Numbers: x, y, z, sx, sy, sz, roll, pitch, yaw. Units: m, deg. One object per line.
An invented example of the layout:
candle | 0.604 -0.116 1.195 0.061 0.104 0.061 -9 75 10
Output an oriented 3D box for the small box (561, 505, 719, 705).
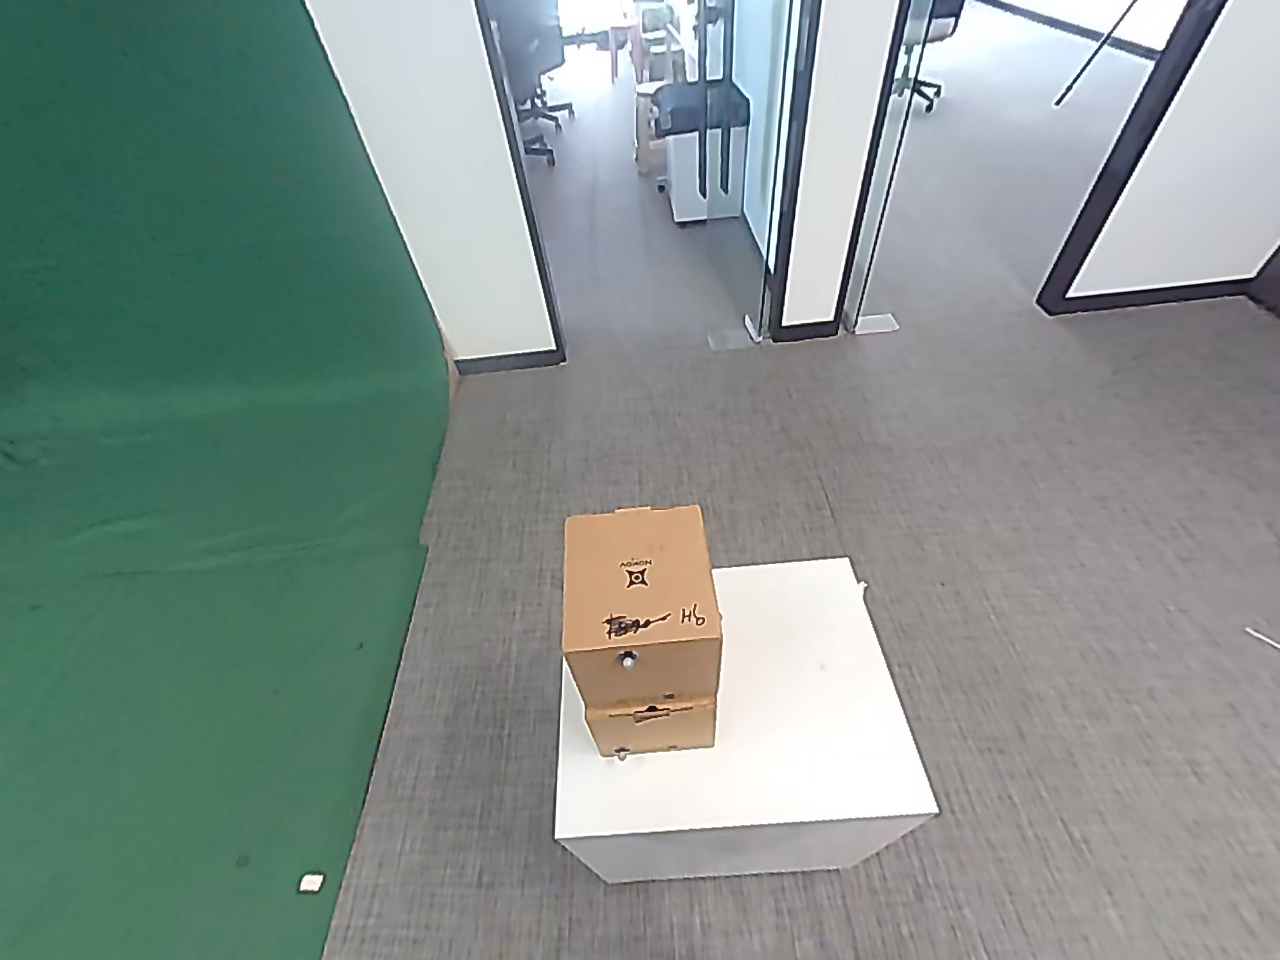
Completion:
small box | 0.002 0.155 0.669 0.168 0.176 0.179 -6 47 1

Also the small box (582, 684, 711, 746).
small box | 0.012 0.271 0.783 0.168 0.176 0.179 -5 47 1
